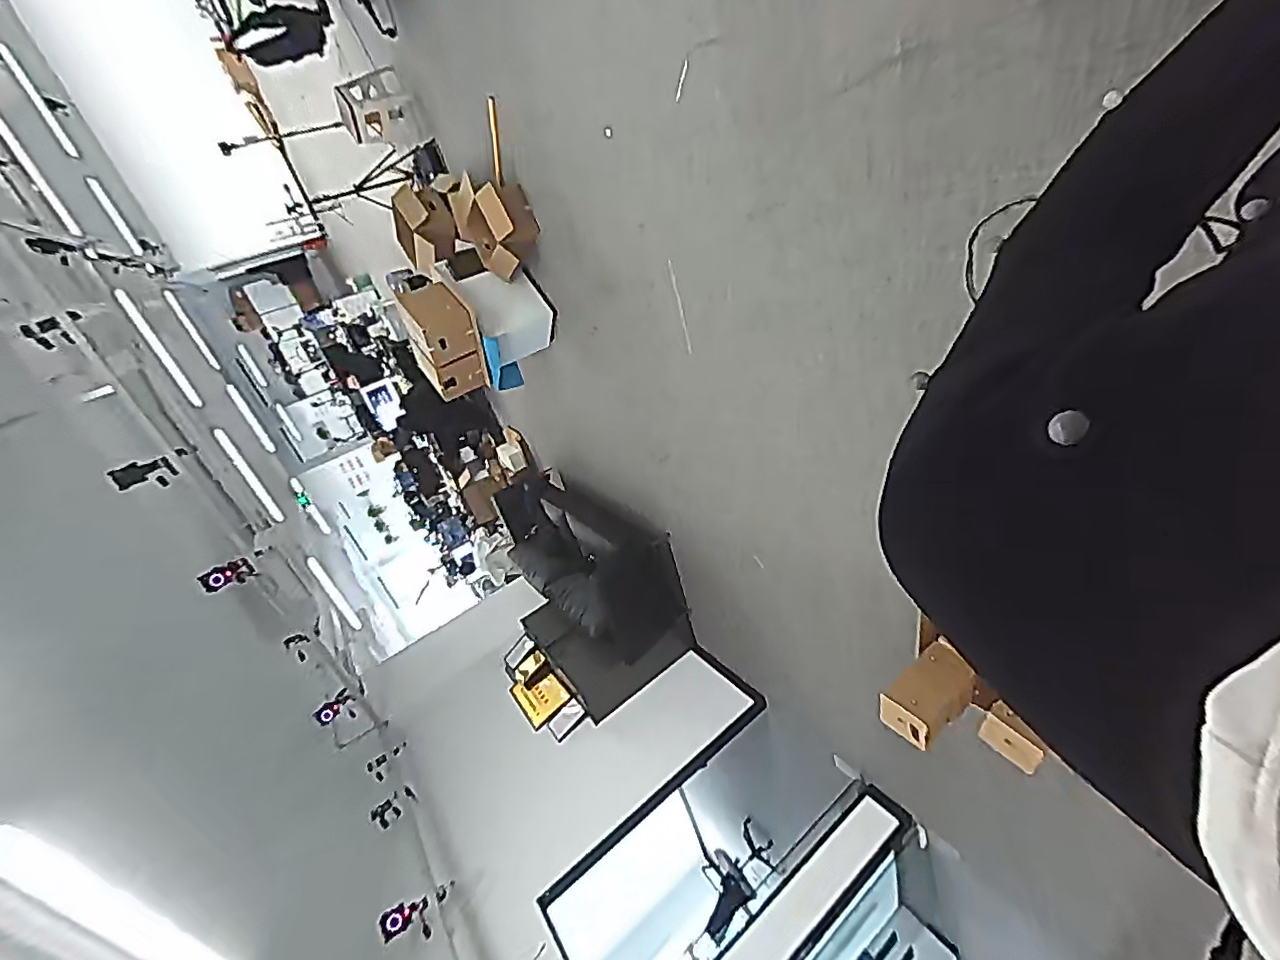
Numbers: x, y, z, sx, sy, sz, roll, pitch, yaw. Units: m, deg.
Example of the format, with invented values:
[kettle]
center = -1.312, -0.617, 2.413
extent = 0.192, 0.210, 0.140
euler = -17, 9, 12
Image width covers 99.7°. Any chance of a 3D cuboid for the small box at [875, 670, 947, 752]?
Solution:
[small box]
center = 0.971, 0.820, 1.939
extent = 0.179, 0.176, 0.168
euler = 30, 142, 49
